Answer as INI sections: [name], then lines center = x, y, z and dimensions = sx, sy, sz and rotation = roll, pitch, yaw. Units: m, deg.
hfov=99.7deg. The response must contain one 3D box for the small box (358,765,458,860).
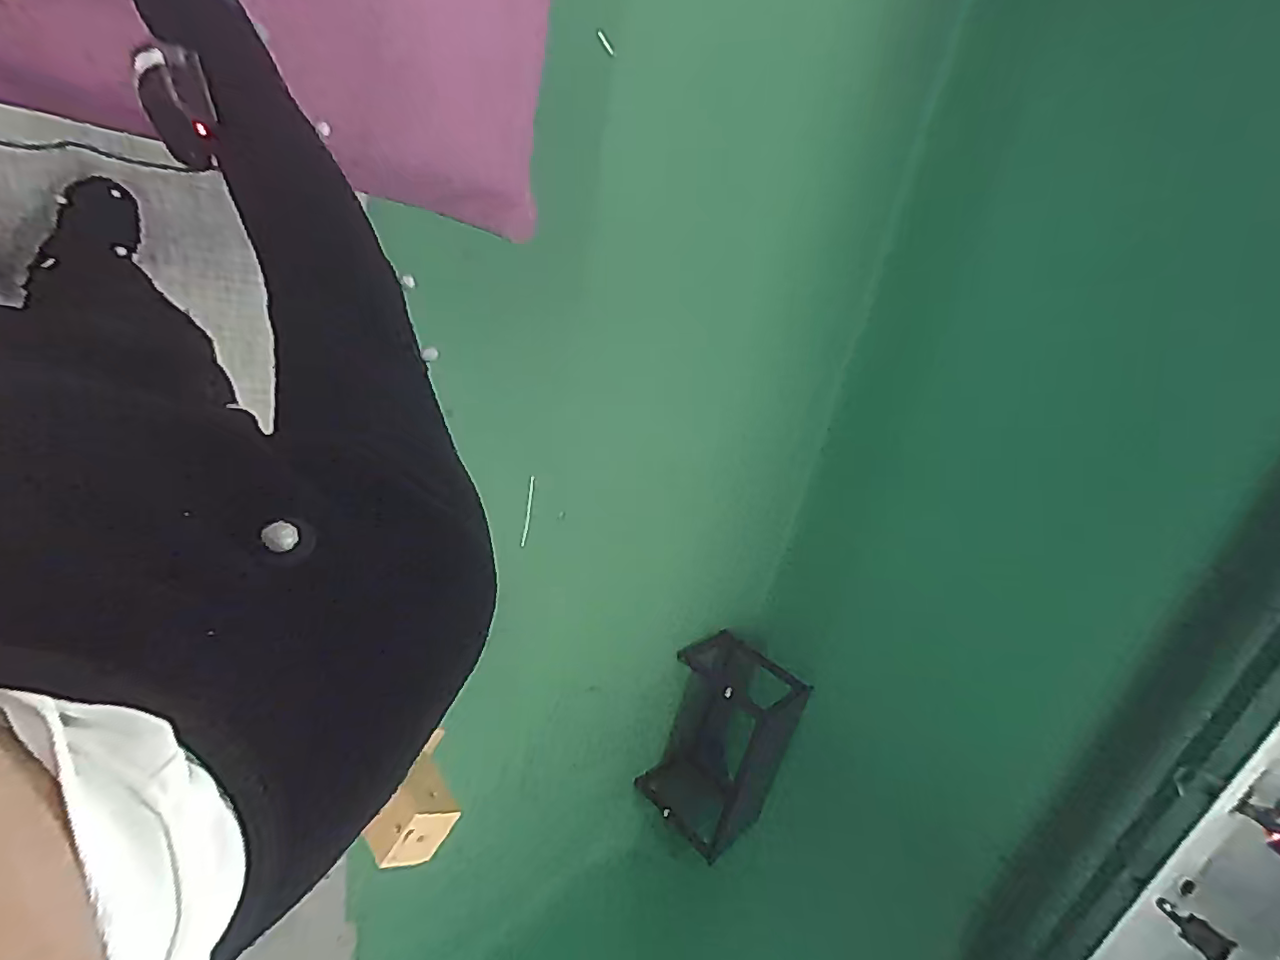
[small box]
center = -0.682, 0.966, 1.588
dimensions = 0.168, 0.176, 0.179
rotation = -56, 142, -7
